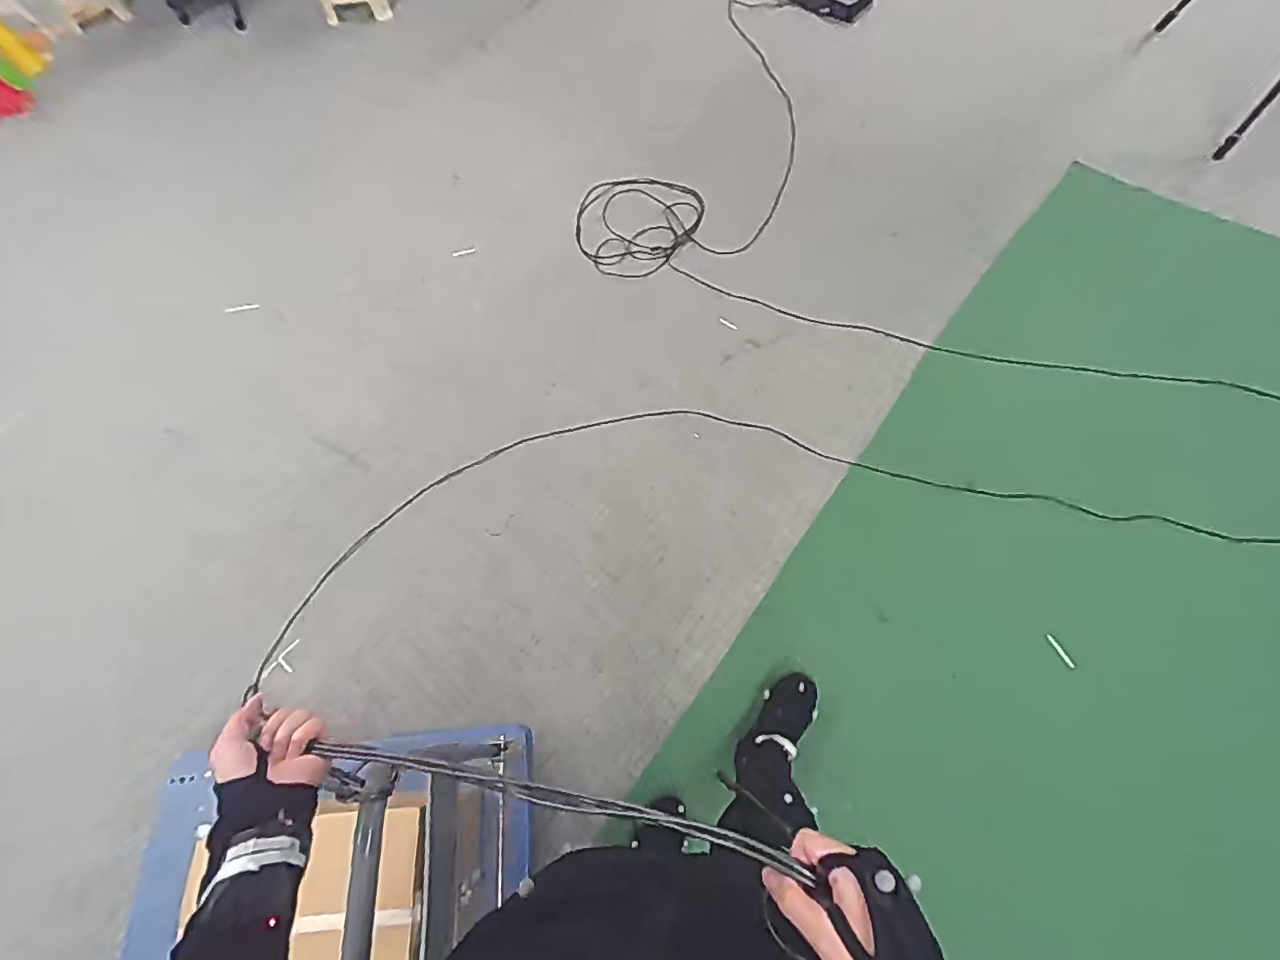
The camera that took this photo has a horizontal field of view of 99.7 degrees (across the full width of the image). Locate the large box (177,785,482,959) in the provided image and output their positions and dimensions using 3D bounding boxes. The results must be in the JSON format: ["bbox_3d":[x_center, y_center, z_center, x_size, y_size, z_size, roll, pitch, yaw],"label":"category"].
[{"bbox_3d":[-0.544,0.788,1.022,0.408,0.320,0.320,-7,65,3],"label":"large box"}]
